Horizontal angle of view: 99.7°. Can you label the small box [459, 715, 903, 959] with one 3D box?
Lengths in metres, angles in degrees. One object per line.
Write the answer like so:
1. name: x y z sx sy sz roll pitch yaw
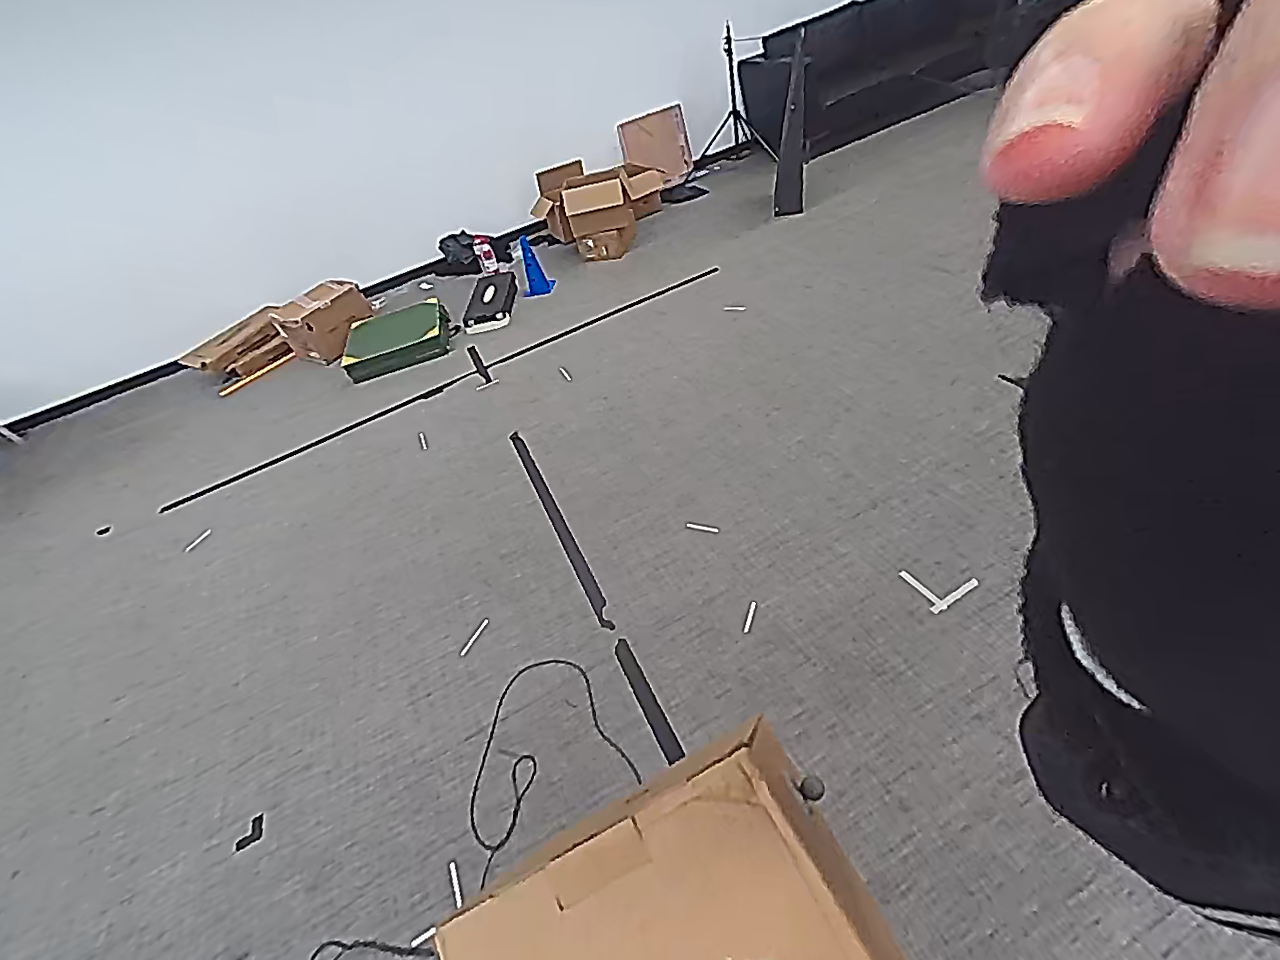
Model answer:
1. small box: 0.041 0.257 0.295 0.168 0.179 0.176 -32 66 3
